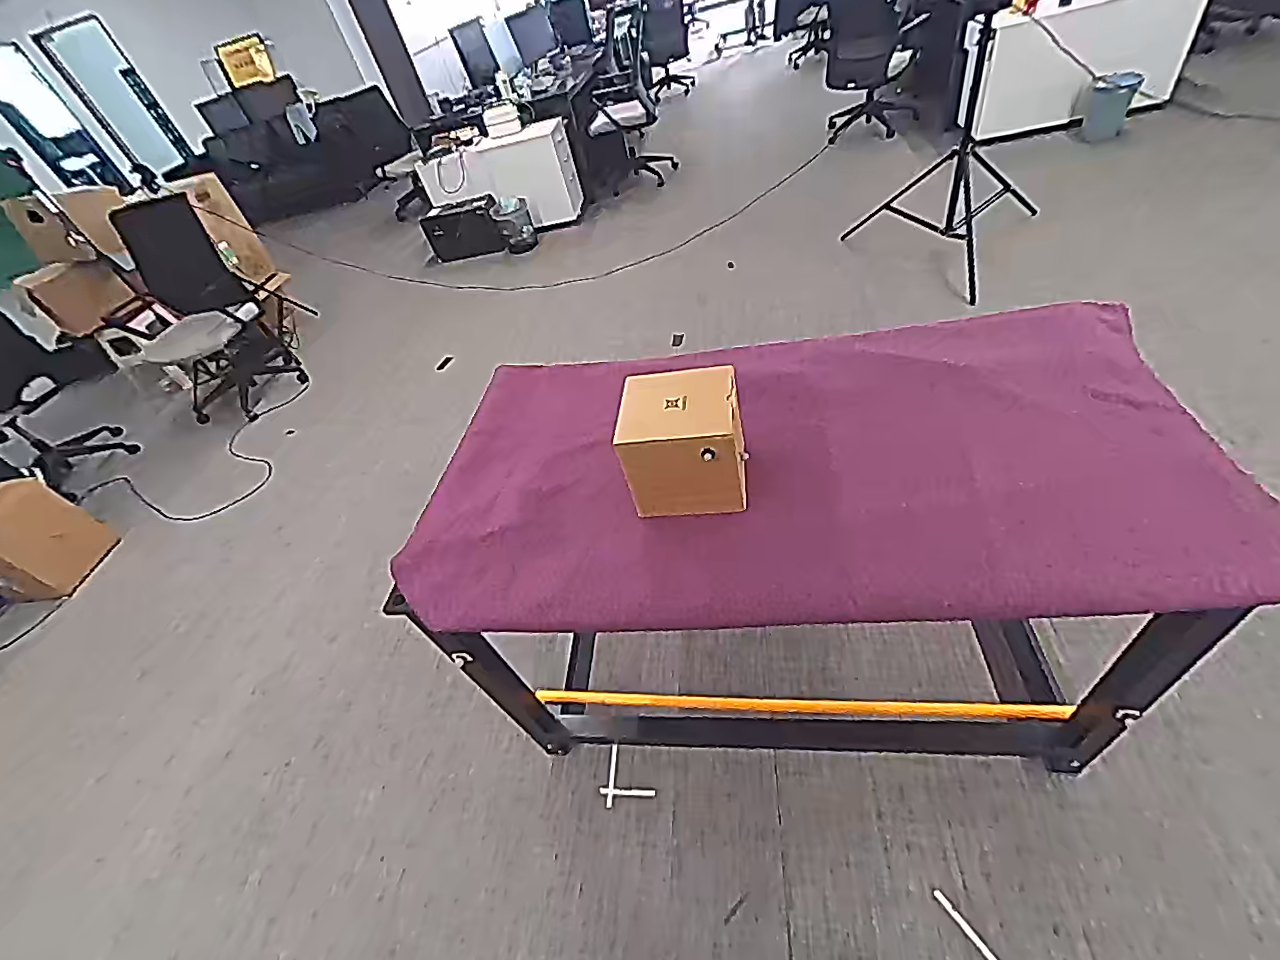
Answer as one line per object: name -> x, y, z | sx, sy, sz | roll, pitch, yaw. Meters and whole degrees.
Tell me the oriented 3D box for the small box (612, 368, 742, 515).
small box -> 0.069, -0.057, 0.872 | 0.179, 0.176, 0.168 | -4, 45, 13
